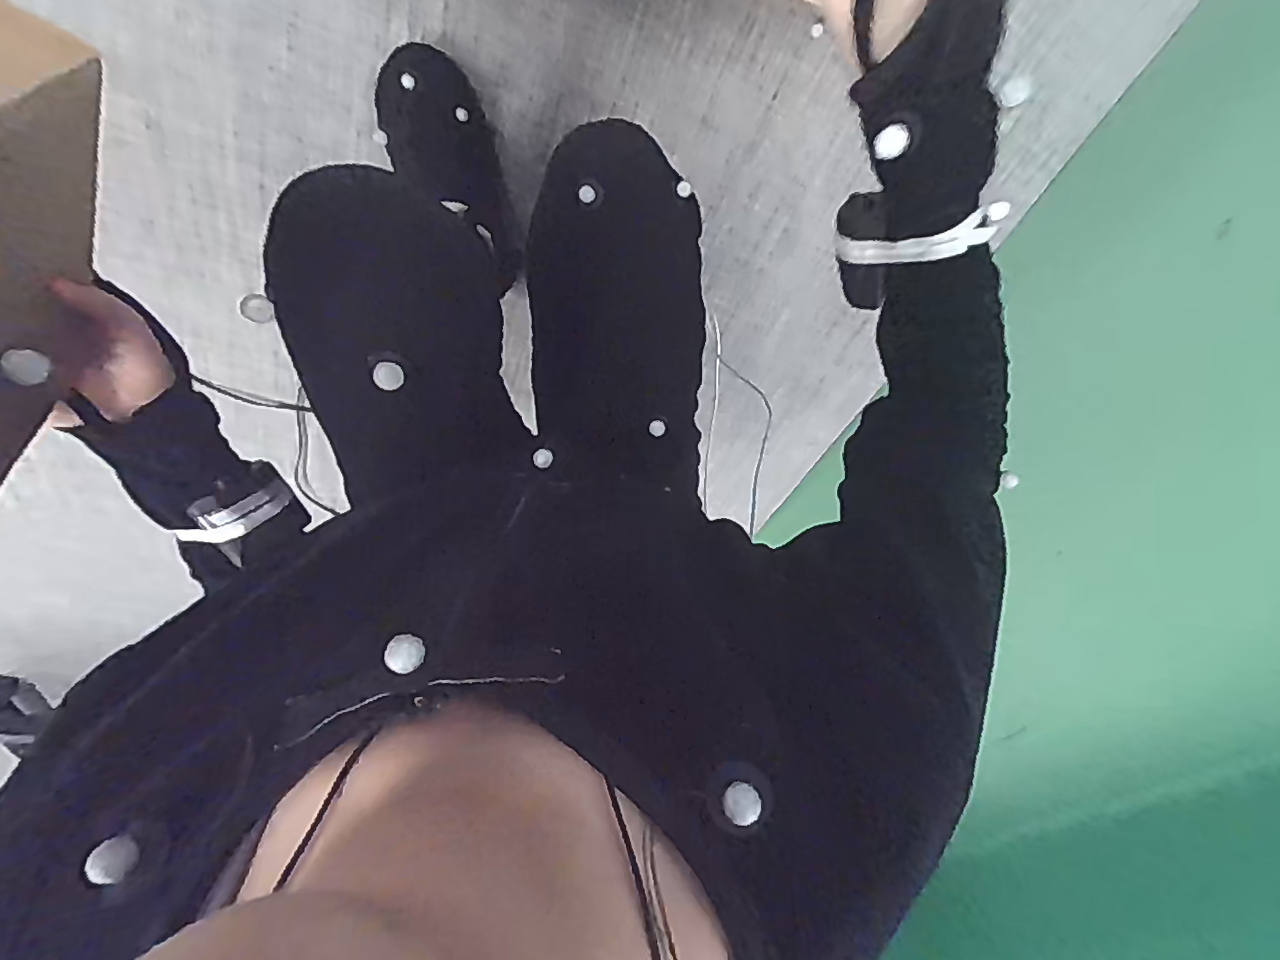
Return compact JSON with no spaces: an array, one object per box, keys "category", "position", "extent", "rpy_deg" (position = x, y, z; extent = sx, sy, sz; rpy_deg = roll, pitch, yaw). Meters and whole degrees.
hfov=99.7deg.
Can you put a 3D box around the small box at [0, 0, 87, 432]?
[{"category":"small box","position":[-0.314,-0.091,0.166],"extent":[0.168,0.176,0.179],"rpy_deg":[15,128,-36]}]
